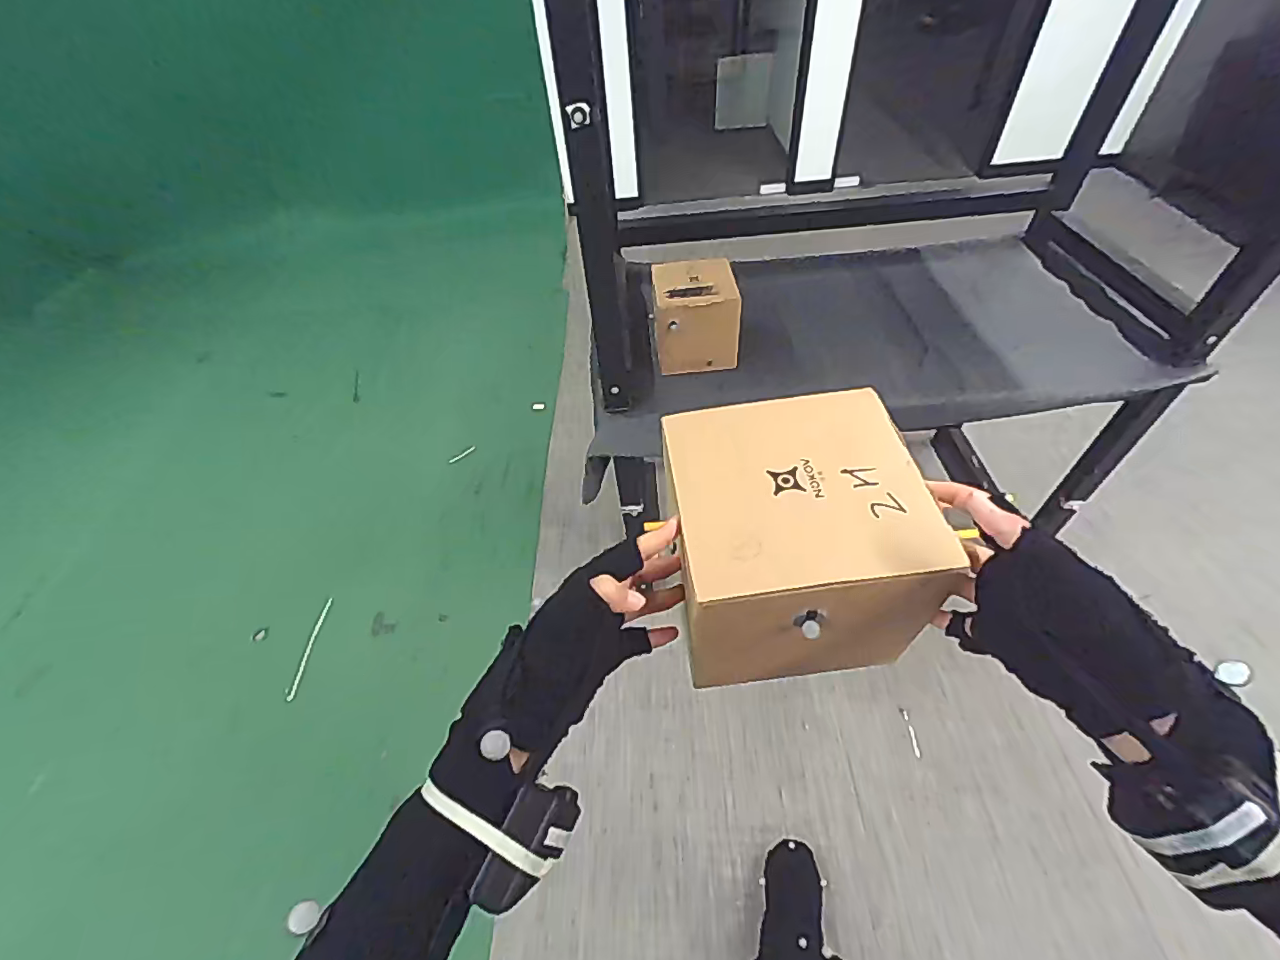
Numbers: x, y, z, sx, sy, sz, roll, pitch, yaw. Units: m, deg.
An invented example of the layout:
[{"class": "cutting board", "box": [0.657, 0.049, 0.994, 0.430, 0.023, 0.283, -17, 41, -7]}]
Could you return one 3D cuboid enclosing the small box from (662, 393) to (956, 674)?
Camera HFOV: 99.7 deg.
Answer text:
[{"class": "small box", "box": [0.117, 0.051, 0.457, 0.179, 0.176, 0.168, -7, 52, -1]}]
